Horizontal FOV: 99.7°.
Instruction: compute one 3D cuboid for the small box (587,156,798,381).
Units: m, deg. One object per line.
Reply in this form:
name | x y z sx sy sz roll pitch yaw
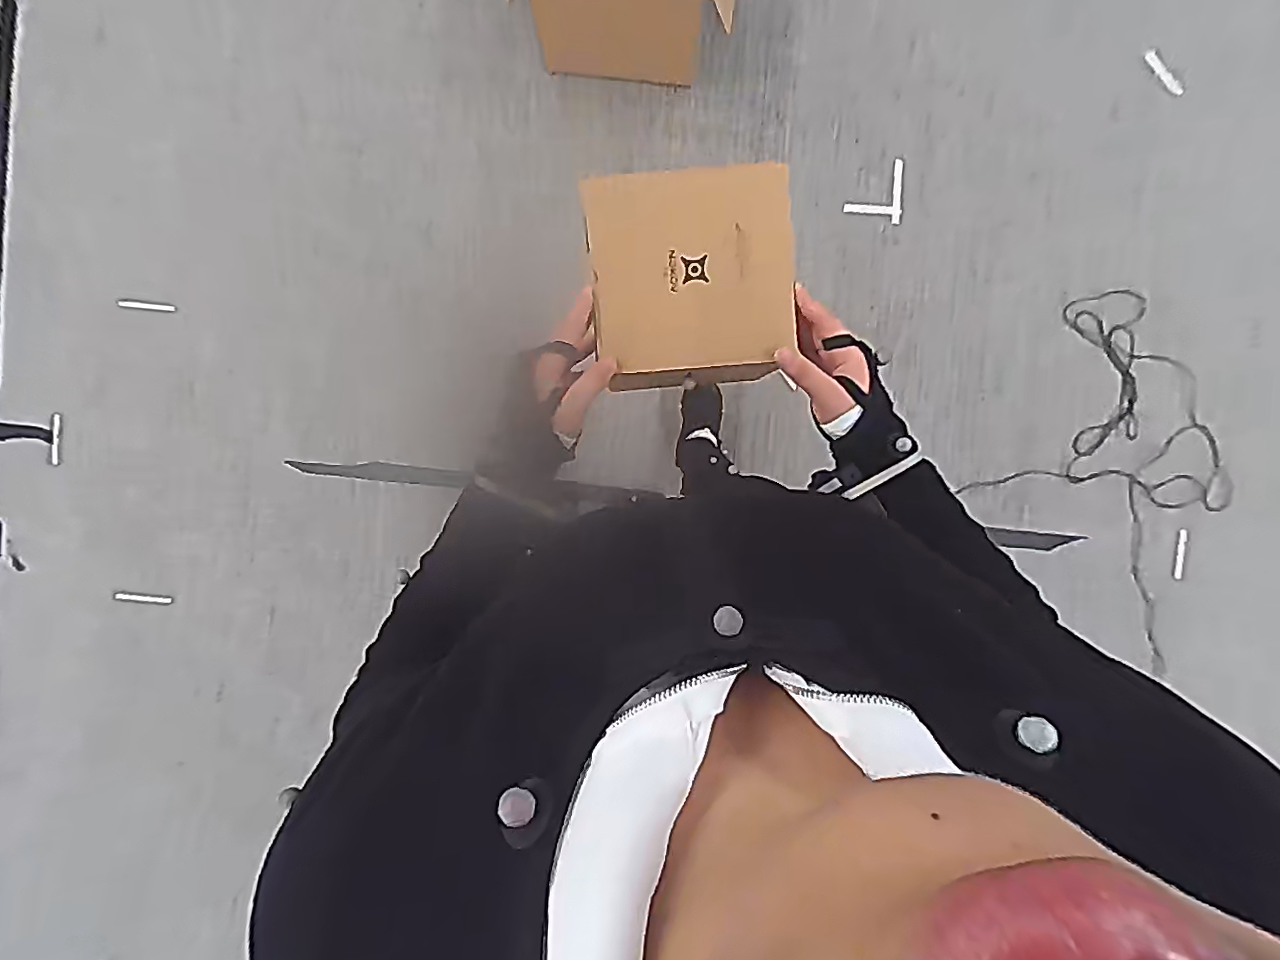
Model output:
small box | 0.047 -0.196 0.549 0.179 0.176 0.168 -5 95 0
